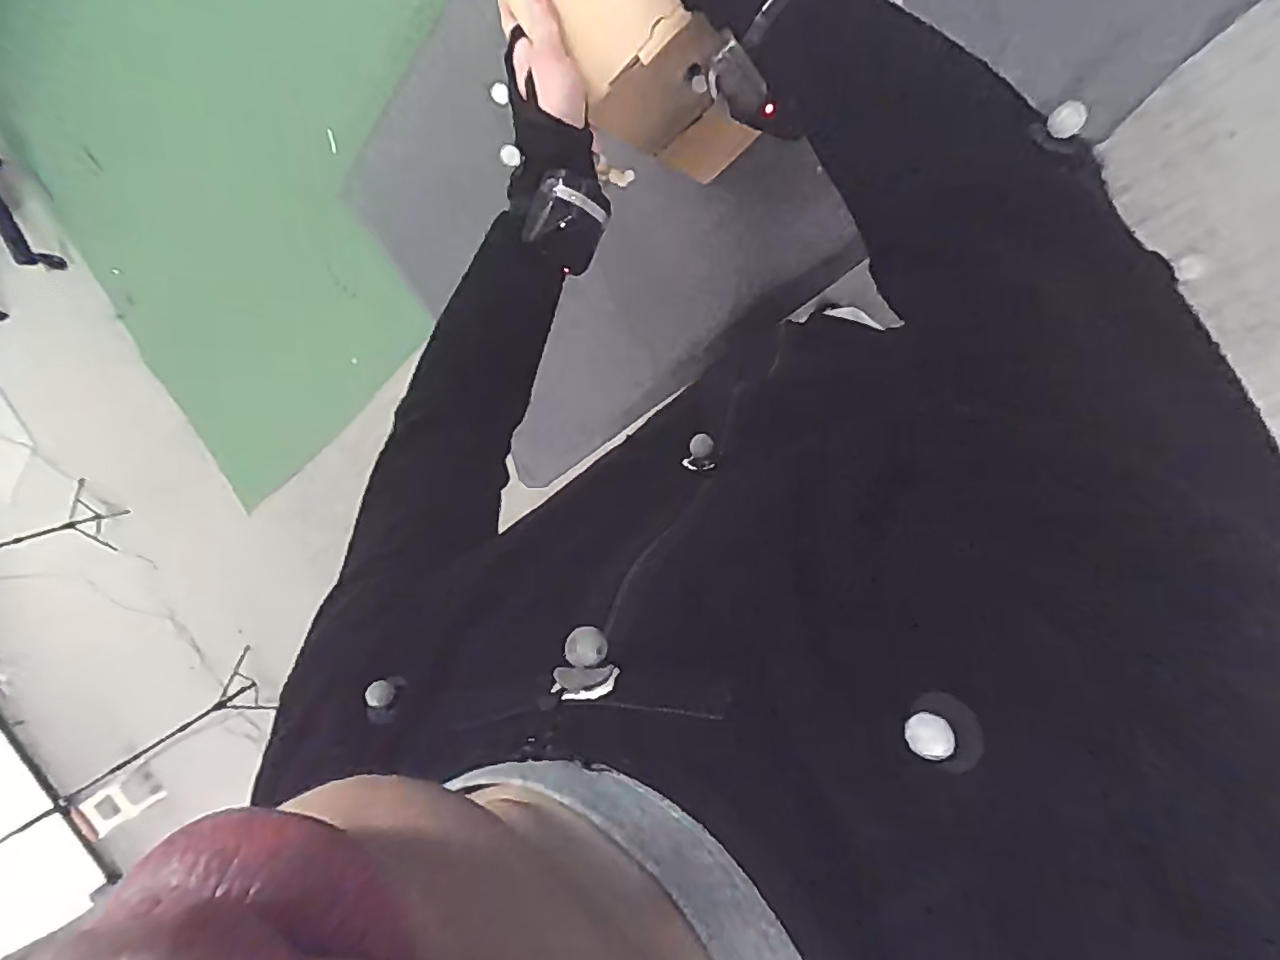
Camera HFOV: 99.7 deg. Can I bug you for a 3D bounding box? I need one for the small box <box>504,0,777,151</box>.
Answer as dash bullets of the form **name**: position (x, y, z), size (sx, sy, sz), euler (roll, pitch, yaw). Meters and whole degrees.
- **small box**: position (-0.001, -0.411, 0.454), size (0.168, 0.176, 0.179), euler (-31, 97, 27)
